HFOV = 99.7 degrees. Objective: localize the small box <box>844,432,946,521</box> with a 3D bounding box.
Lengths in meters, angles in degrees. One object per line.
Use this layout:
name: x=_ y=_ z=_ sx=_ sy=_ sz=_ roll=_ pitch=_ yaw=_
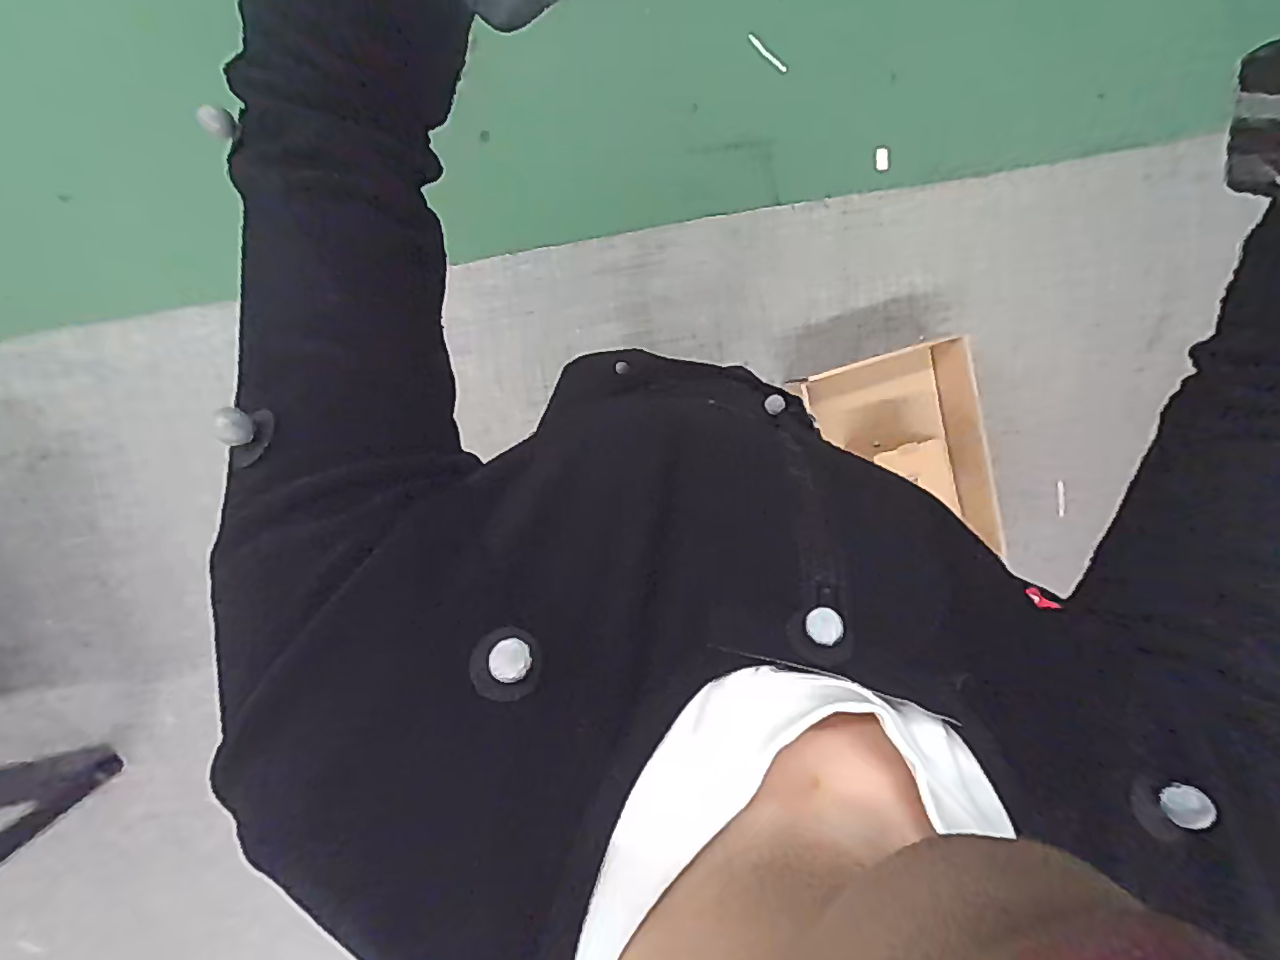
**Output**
small box: x=0.633 y=-0.017 z=1.360 sx=0.168 sy=0.176 sz=0.179 roll=-15 pitch=102 yaw=1
